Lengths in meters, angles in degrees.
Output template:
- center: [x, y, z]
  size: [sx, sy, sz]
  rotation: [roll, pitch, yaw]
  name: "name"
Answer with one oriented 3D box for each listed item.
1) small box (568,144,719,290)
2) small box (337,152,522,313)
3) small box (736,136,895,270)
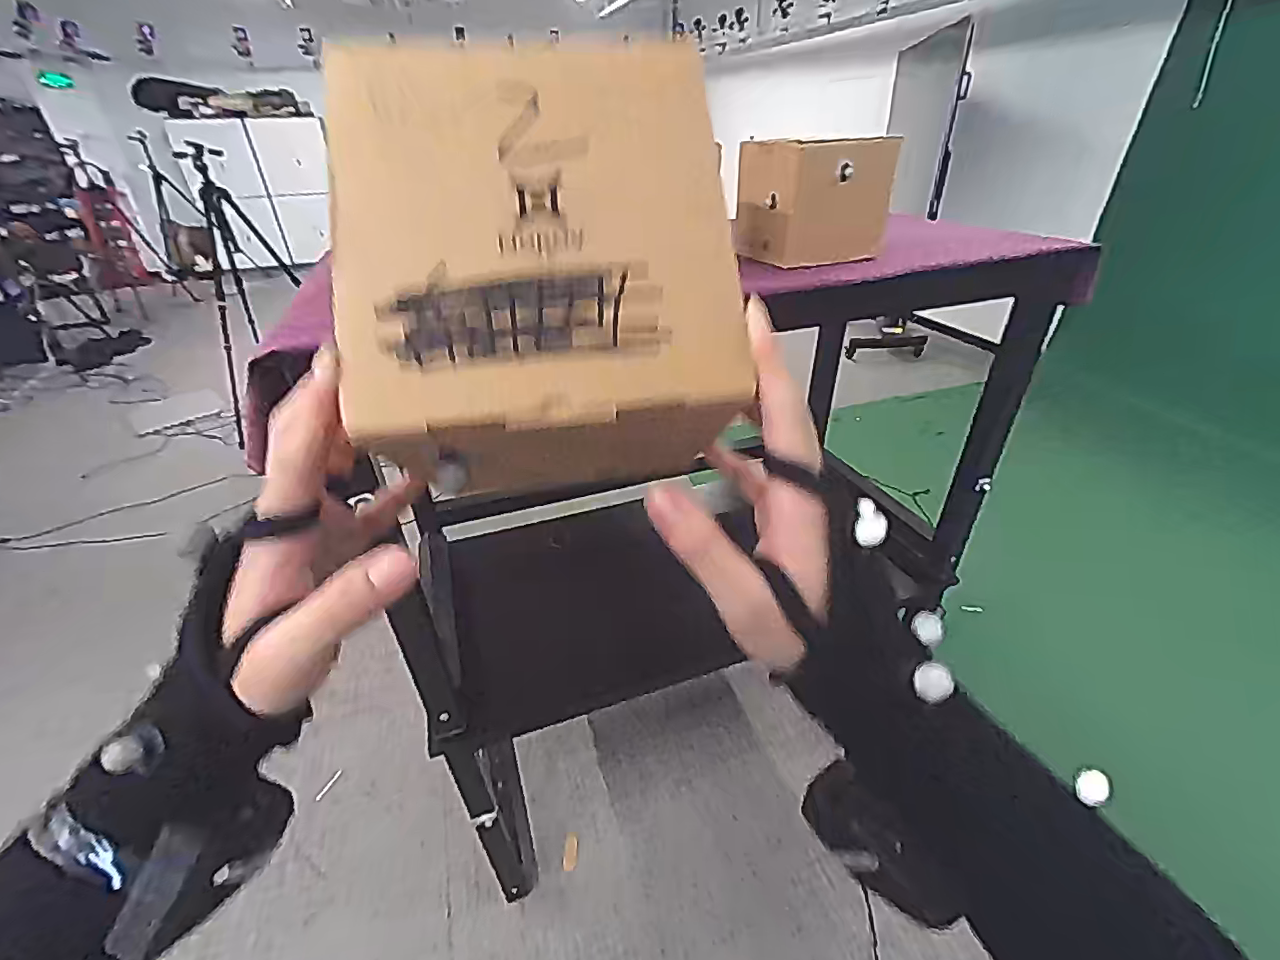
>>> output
- center: [0.000, -0.385, 0.786]
  size: [0.179, 0.176, 0.168]
  rotation: [-11, 33, -12]
  name: "small box"
- center: [-0.263, -0.325, 0.707]
  size: [0.179, 0.176, 0.168]
  rotation: [-11, 35, -13]
  name: "small box"
- center: [0.263, -0.436, 0.853]
  size: [0.179, 0.176, 0.168]
  rotation: [-12, 34, -15]
  name: "small box"
